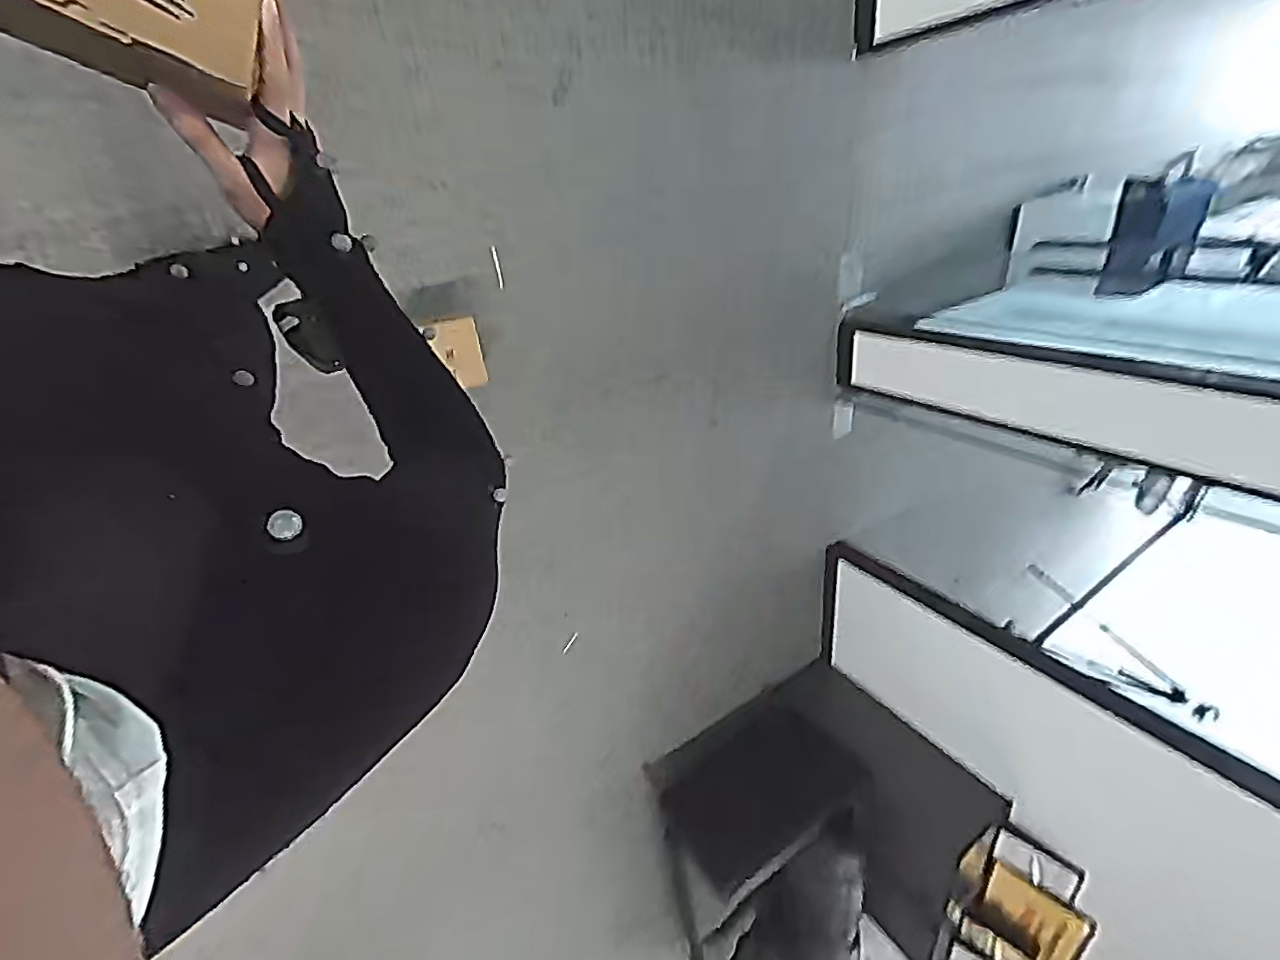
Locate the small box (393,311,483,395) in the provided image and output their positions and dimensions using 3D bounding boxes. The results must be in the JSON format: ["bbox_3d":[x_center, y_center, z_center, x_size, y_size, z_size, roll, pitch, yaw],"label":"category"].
[{"bbox_3d":[-0.540,-0.345,1.437,0.168,0.176,0.179,-21,122,-25],"label":"small box"}]
